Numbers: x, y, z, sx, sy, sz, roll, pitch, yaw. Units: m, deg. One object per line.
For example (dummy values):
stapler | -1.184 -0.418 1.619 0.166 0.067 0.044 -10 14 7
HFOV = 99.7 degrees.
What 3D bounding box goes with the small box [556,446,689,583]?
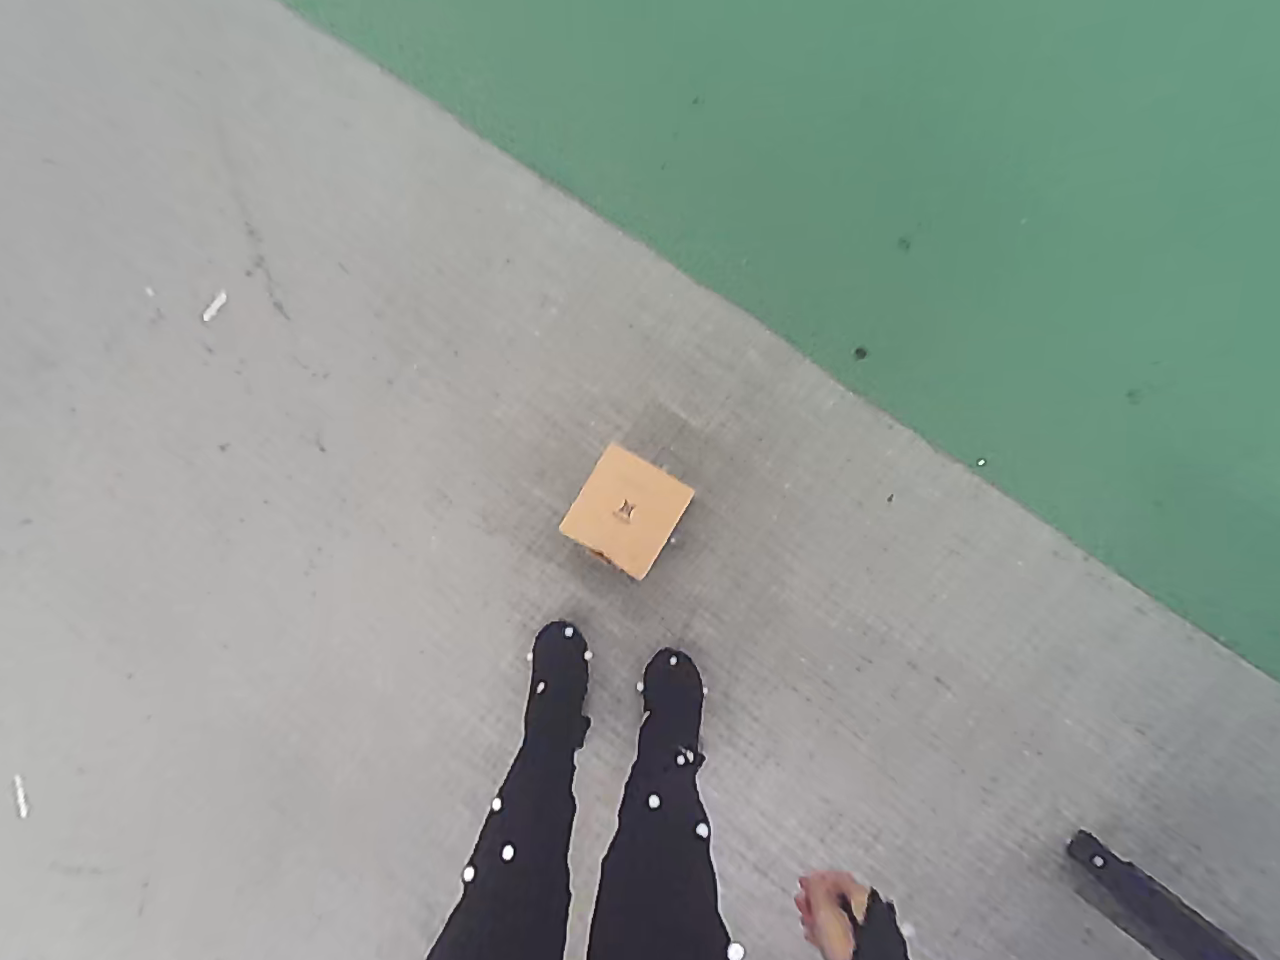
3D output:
small box | -0.023 0.062 0.972 0.168 0.176 0.179 30 88 5
